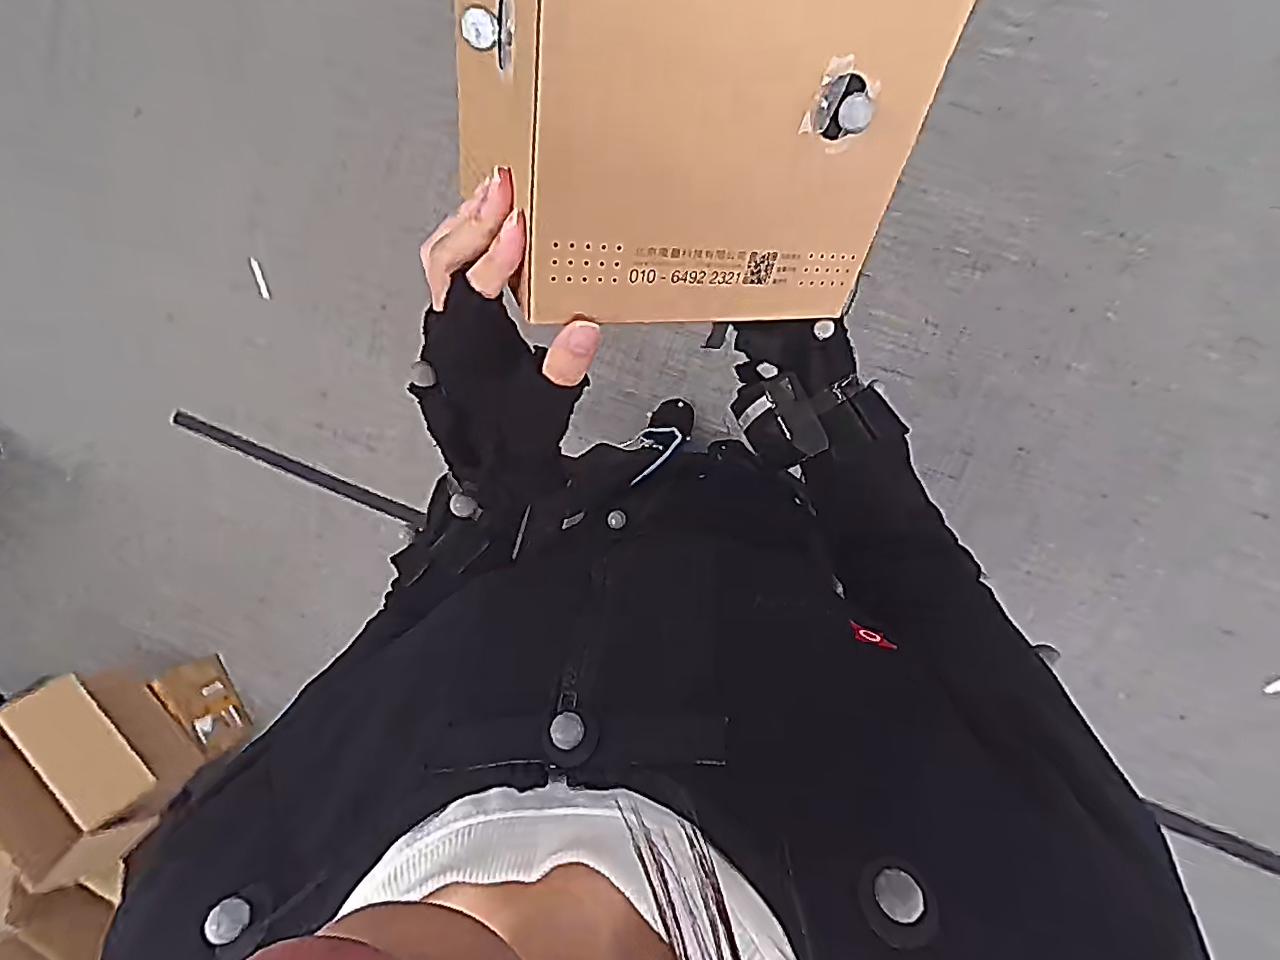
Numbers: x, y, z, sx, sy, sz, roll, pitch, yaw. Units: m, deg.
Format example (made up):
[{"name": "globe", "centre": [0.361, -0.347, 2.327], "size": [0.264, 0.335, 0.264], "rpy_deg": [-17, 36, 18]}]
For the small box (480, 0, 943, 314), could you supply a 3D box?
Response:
[{"name": "small box", "centre": [0.016, -0.196, 0.273], "size": [0.168, 0.179, 0.176], "rpy_deg": [-7, 134, -23]}]
